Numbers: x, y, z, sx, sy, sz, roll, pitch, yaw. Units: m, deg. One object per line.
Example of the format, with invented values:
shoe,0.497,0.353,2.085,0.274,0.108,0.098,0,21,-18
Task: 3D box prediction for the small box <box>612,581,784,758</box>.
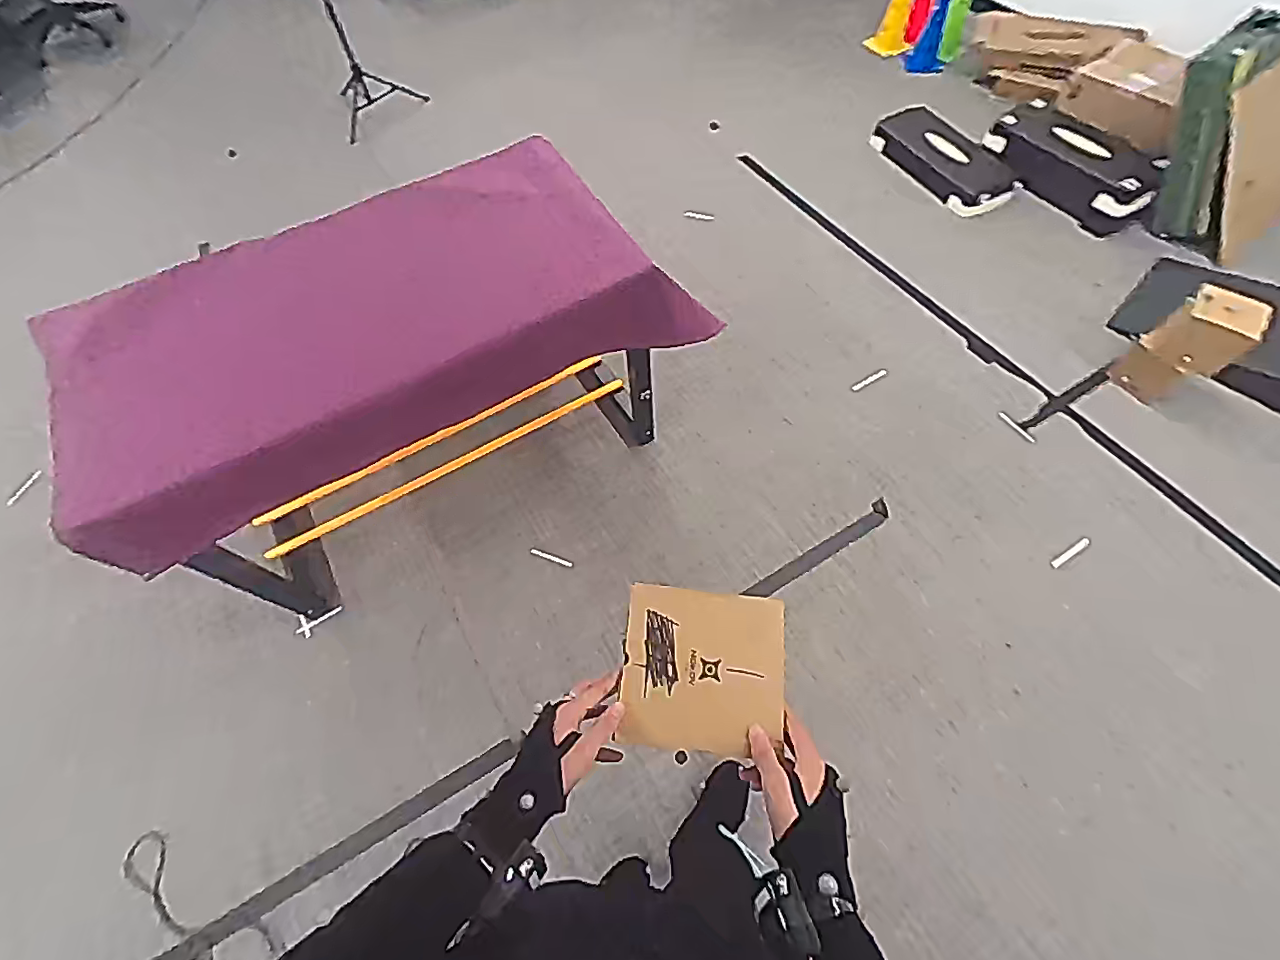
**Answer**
small box,0.066,0.230,0.648,0.179,0.176,0.168,6,65,2
